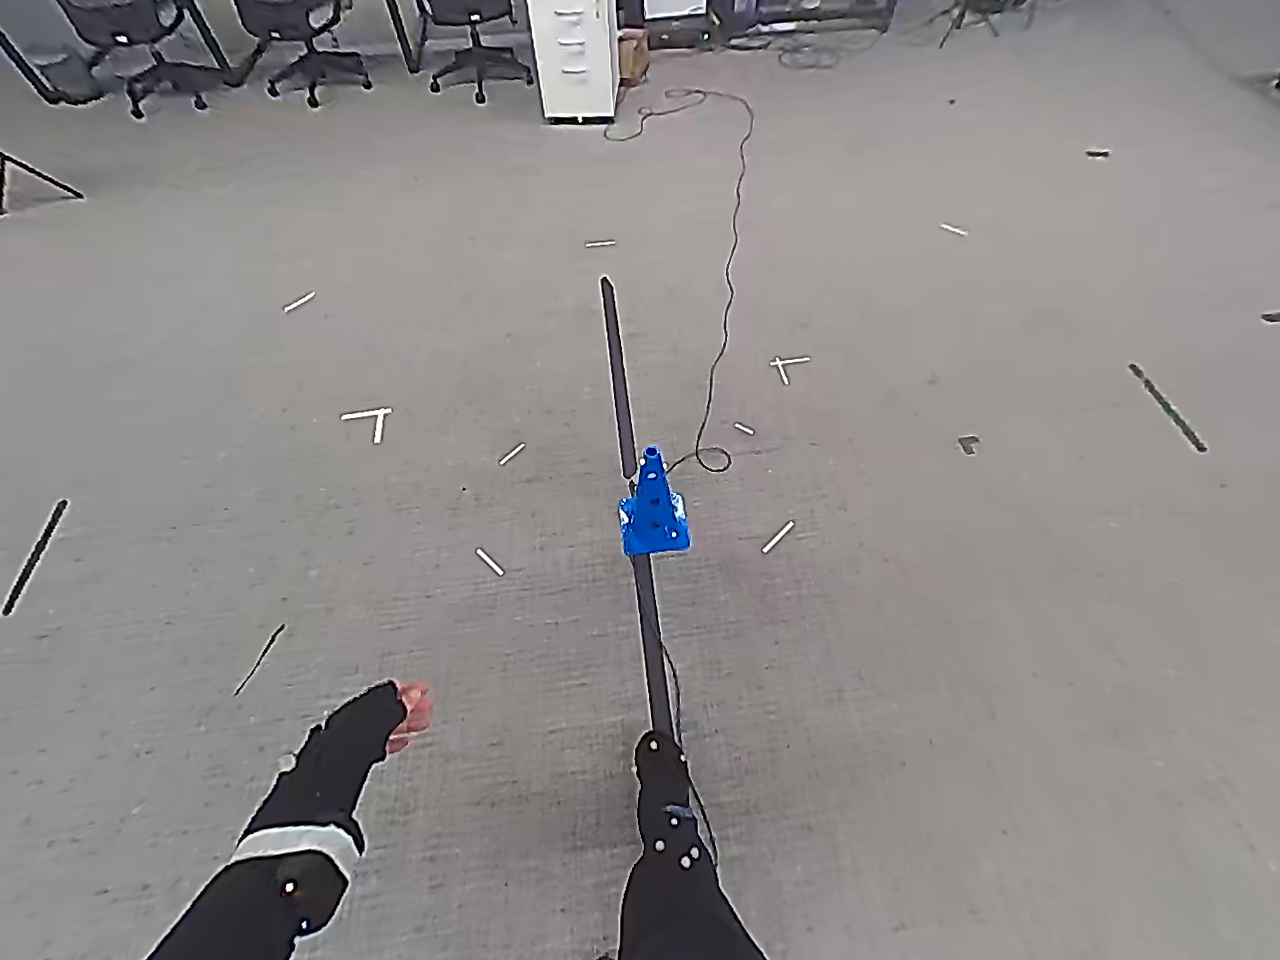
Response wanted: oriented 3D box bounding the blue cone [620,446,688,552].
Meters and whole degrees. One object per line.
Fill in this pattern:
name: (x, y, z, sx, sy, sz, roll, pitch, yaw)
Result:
blue cone: (0.035, 0.028, 1.494, 0.193, 0.380, 0.192, -7, 55, -4)
